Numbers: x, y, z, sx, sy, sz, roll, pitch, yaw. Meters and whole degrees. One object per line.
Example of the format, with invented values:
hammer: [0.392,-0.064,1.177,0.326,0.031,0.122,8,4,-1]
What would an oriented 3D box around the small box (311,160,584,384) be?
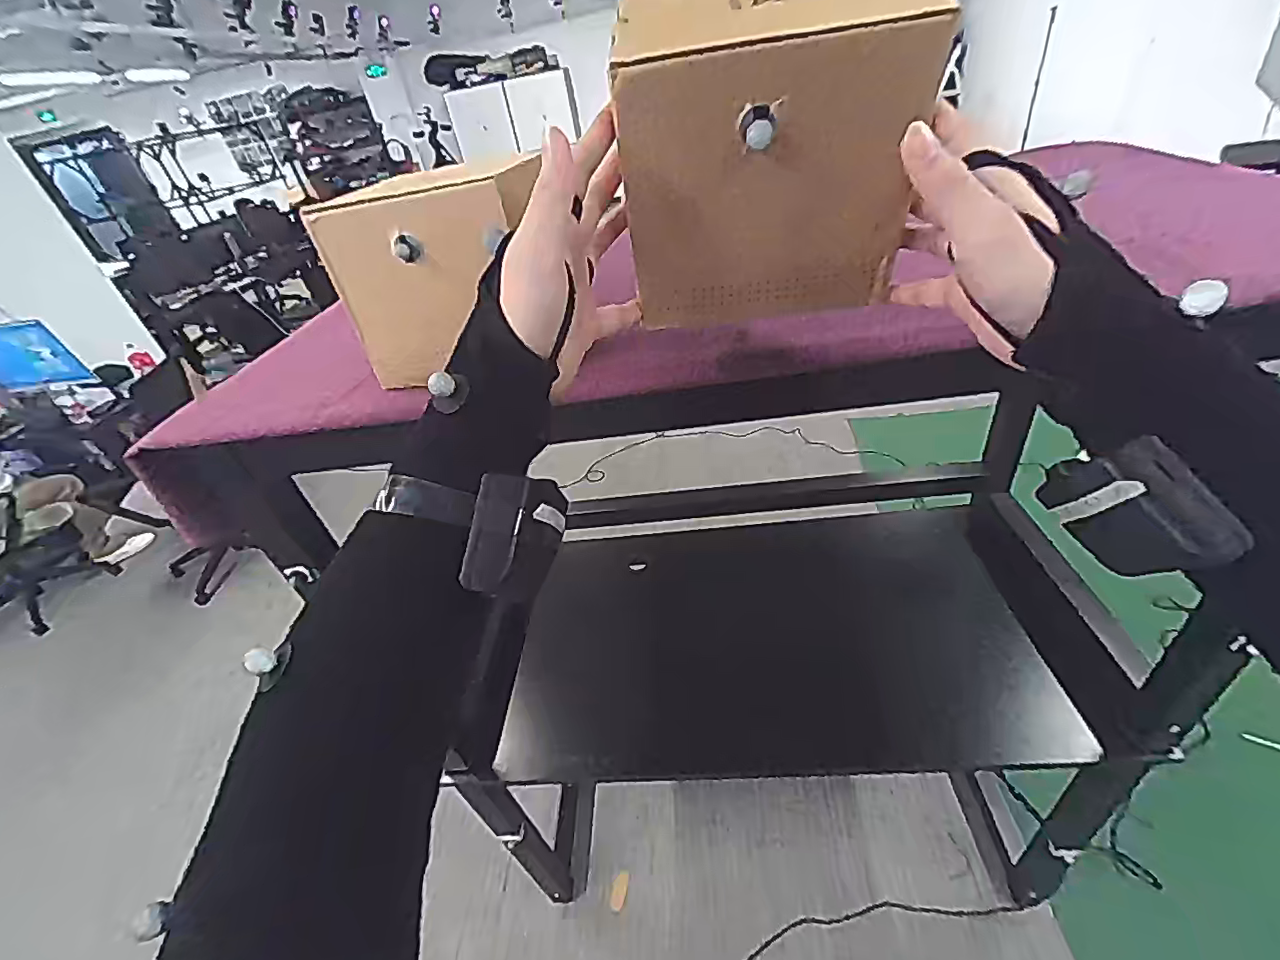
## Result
small box: [-0.172,-0.206,0.547,0.179,0.176,0.168,-3,36,11]

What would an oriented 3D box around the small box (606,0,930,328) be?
small box: [0.080,-0.235,0.401,0.179,0.176,0.168,-5,51,8]
